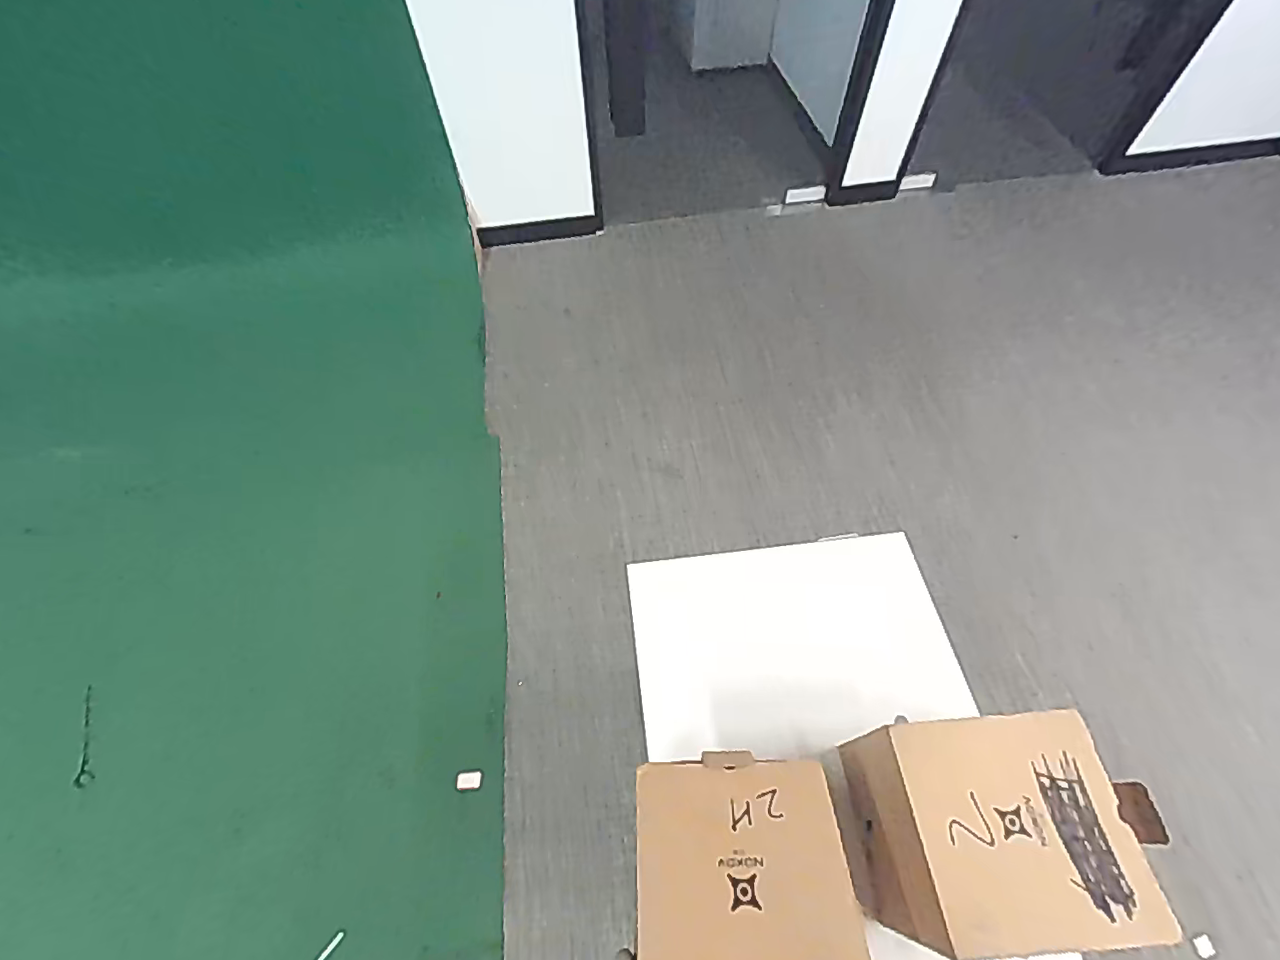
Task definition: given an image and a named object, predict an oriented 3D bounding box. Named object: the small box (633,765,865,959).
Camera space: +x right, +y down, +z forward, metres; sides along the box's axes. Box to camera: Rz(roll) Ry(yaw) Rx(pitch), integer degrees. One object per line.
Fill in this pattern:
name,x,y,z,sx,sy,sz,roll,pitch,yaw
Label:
small box,0.077,0.369,0.466,0.168,0.176,0.179,0,42,-1
